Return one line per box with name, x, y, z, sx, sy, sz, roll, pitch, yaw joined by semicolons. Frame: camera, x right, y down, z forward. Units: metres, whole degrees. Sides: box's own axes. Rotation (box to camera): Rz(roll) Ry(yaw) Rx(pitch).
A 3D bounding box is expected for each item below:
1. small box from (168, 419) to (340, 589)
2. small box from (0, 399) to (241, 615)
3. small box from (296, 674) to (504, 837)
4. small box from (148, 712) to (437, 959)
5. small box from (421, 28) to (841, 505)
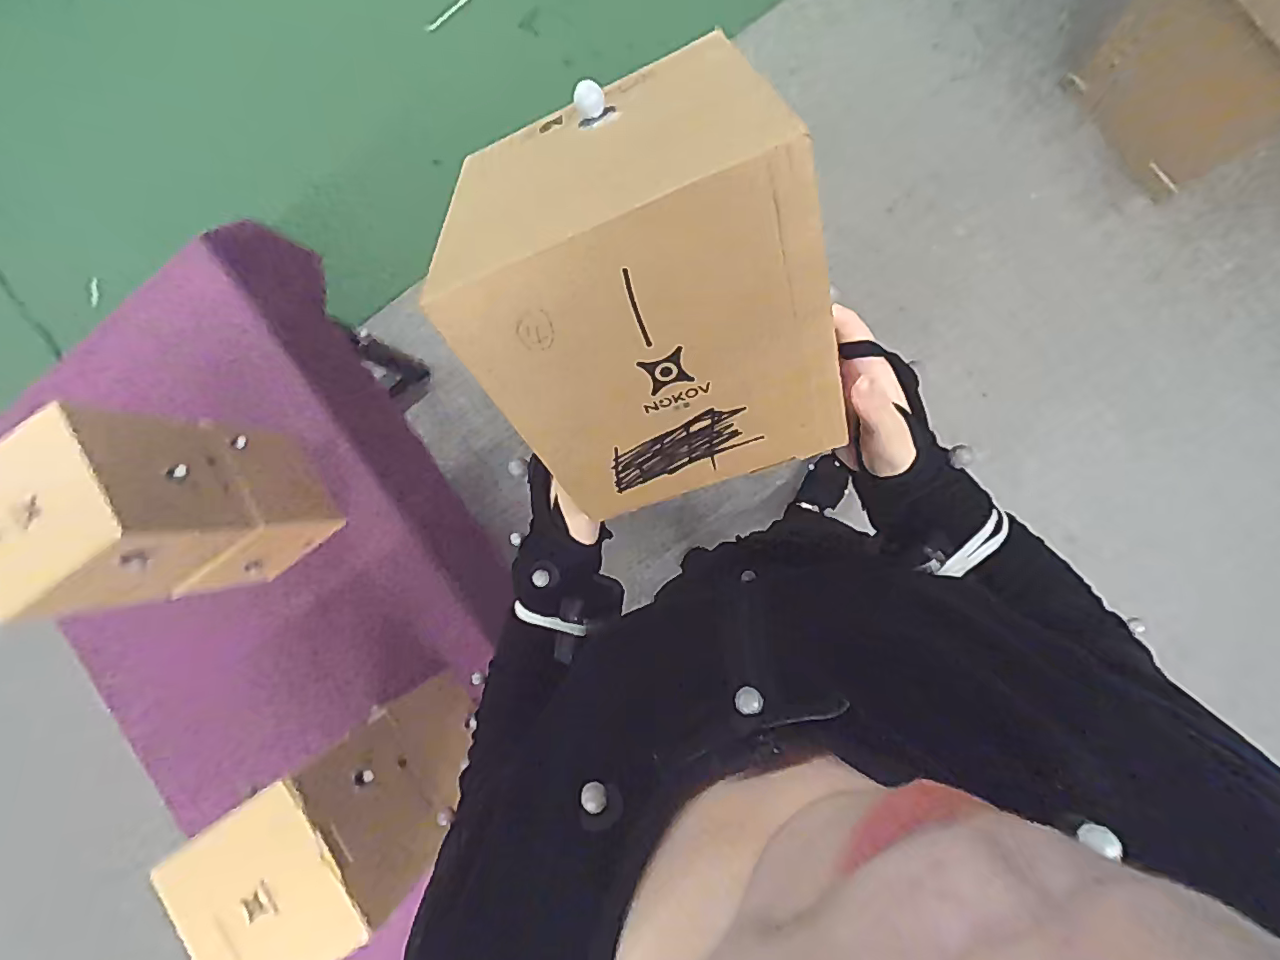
small box;-0.593;0.034;0.799;0.168;0.176;0.179;-36;83;5
small box;-0.620;0.030;0.637;0.179;0.176;0.168;-33;83;6
small box;-0.322;0.392;0.745;0.168;0.176;0.179;-36;83;5
small box;-0.349;0.387;0.583;0.179;0.176;0.168;-35;83;6
small box;0.007;-0.116;0.320;0.168;0.179;0.176;-17;48;12
